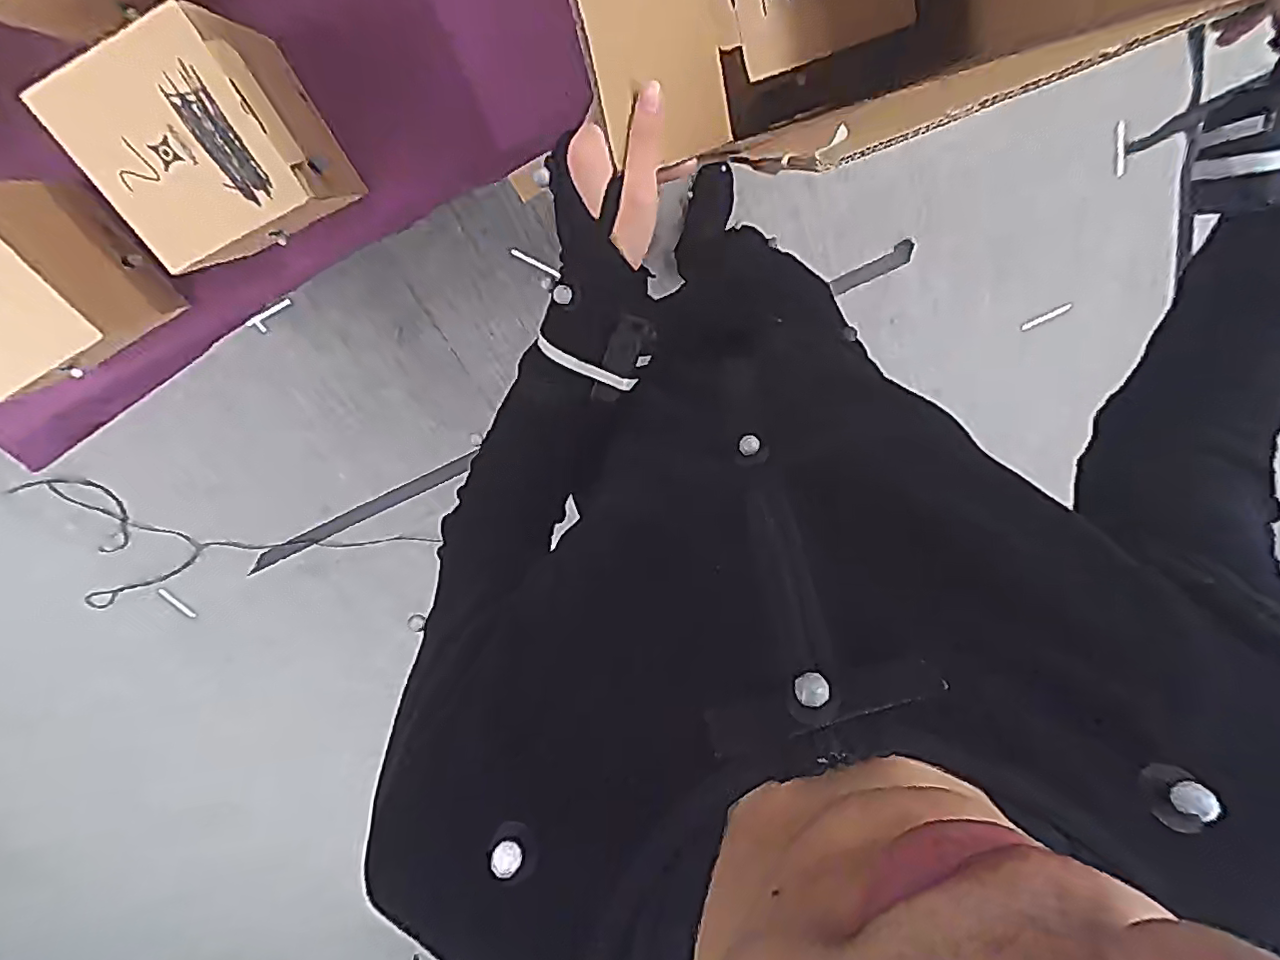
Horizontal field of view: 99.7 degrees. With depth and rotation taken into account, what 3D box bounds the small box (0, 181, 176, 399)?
[{"bbox_3d":[-0.690,-0.209,0.602,0.179,0.176,0.168,-27,121,6],"label":"small box"}]
